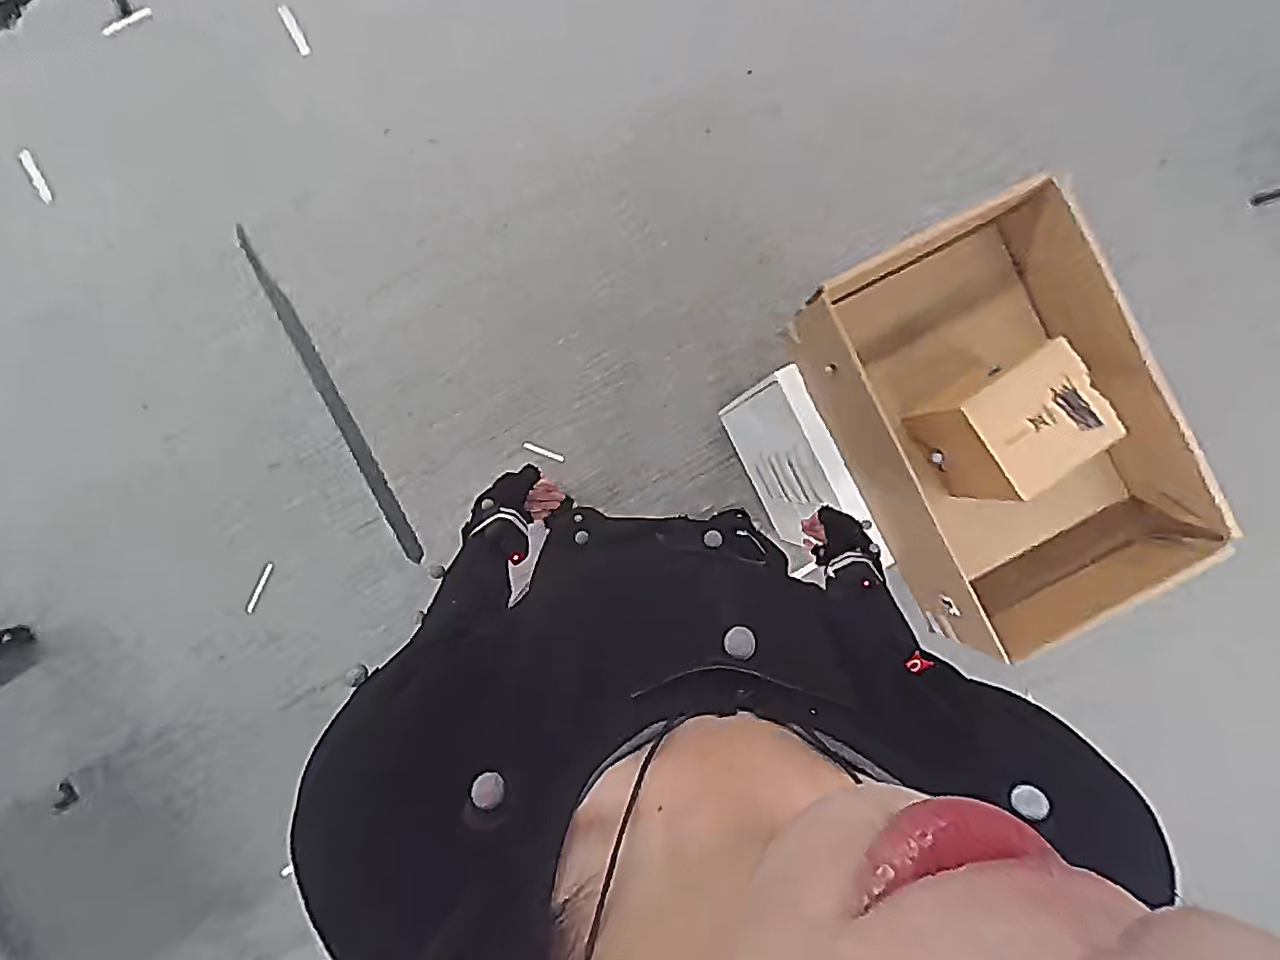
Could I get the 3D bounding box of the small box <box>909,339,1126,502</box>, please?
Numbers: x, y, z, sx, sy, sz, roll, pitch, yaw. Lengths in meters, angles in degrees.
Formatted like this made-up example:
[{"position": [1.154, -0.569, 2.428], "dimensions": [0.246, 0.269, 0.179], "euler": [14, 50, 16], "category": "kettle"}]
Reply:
[{"position": [0.559, -0.084, 0.827], "dimensions": [0.179, 0.176, 0.168], "euler": [-34, 90, -1], "category": "small box"}]
